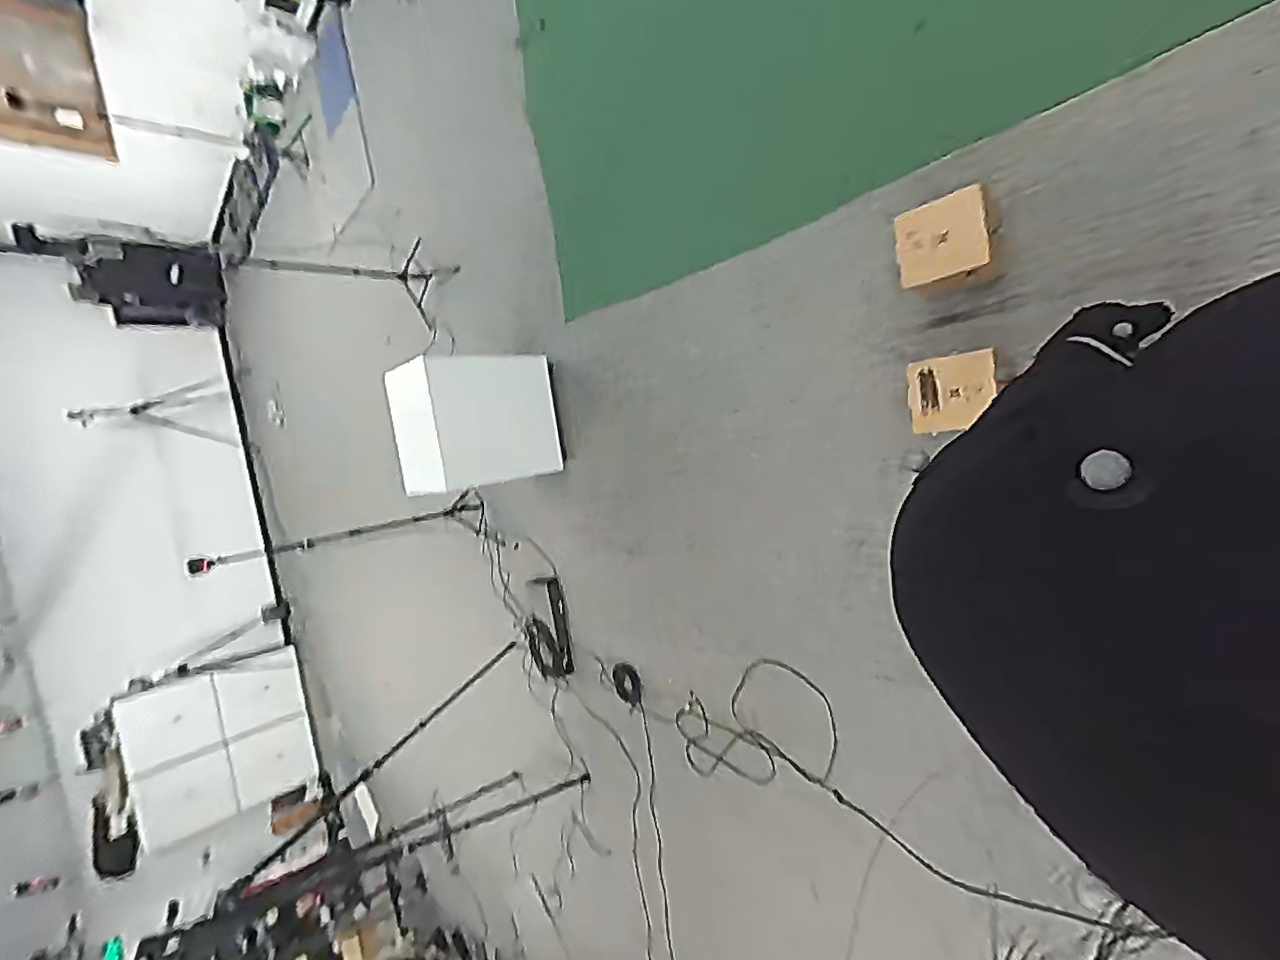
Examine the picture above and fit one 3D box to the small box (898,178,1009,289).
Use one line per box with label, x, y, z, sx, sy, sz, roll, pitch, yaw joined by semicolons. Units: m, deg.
small box;0.706;-0.541;1.211;0.179;0.176;0.168;-7;94;45
